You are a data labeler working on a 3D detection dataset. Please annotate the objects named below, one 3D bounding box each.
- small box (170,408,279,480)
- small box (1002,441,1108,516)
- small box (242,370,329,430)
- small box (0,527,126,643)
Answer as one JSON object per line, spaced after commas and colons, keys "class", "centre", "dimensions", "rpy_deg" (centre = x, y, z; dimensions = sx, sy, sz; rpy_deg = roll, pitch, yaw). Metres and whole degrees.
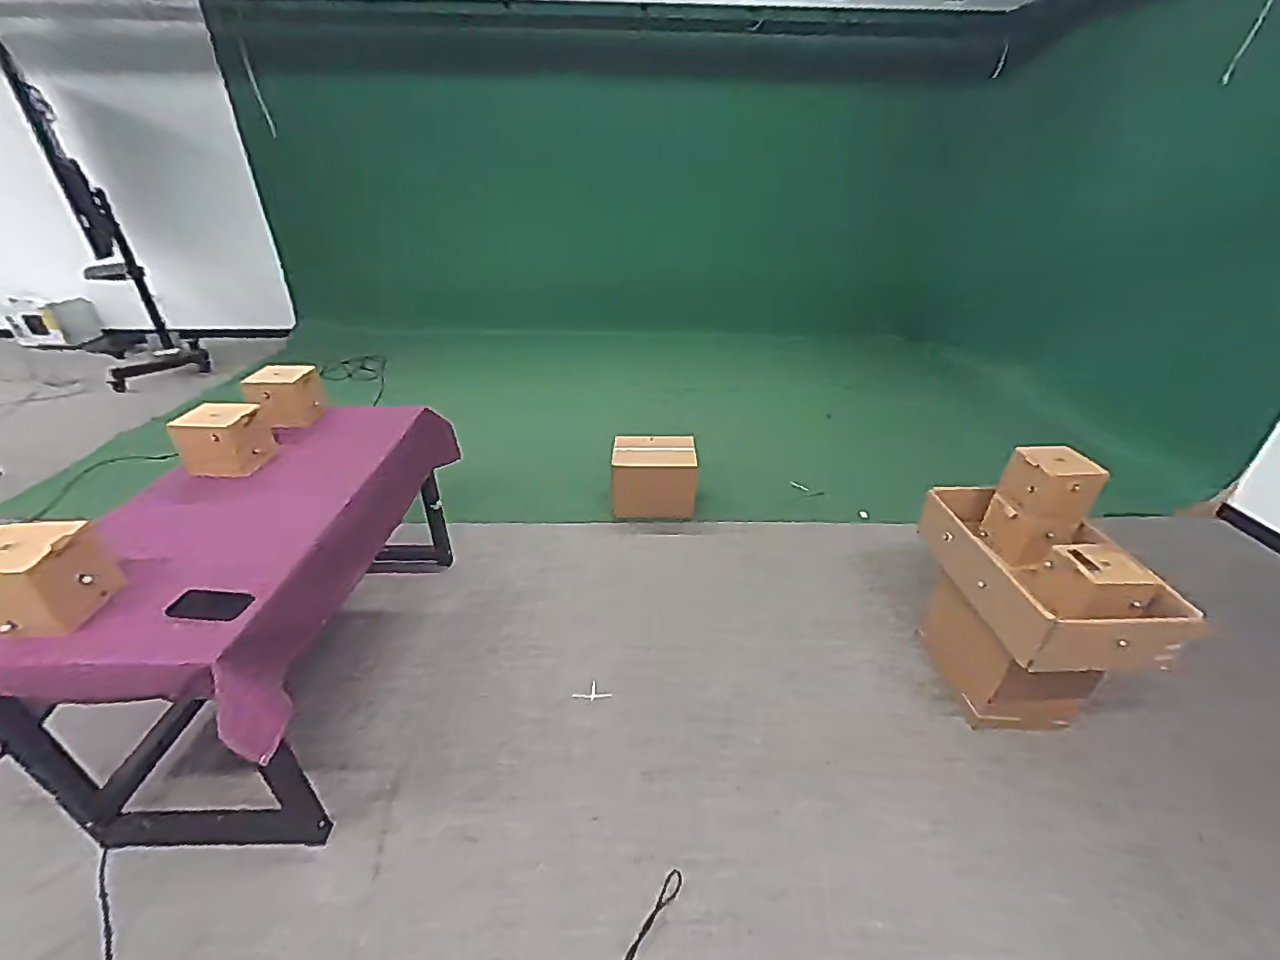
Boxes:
{"class": "small box", "centre": [-1.247, -0.109, 1.637], "dimensions": [0.179, 0.176, 0.168], "rpy_deg": [1, 31, 0]}
{"class": "small box", "centre": [1.235, -0.003, 1.630], "dimensions": [0.179, 0.176, 0.168], "rpy_deg": [-2, 32, -5]}
{"class": "small box", "centre": [-1.249, -0.284, 1.919], "dimensions": [0.179, 0.176, 0.168], "rpy_deg": [0, 32, -1]}
{"class": "small box", "centre": [-1.218, 0.213, 1.098], "dimensions": [0.179, 0.176, 0.168], "rpy_deg": [-2, 30, -5]}
